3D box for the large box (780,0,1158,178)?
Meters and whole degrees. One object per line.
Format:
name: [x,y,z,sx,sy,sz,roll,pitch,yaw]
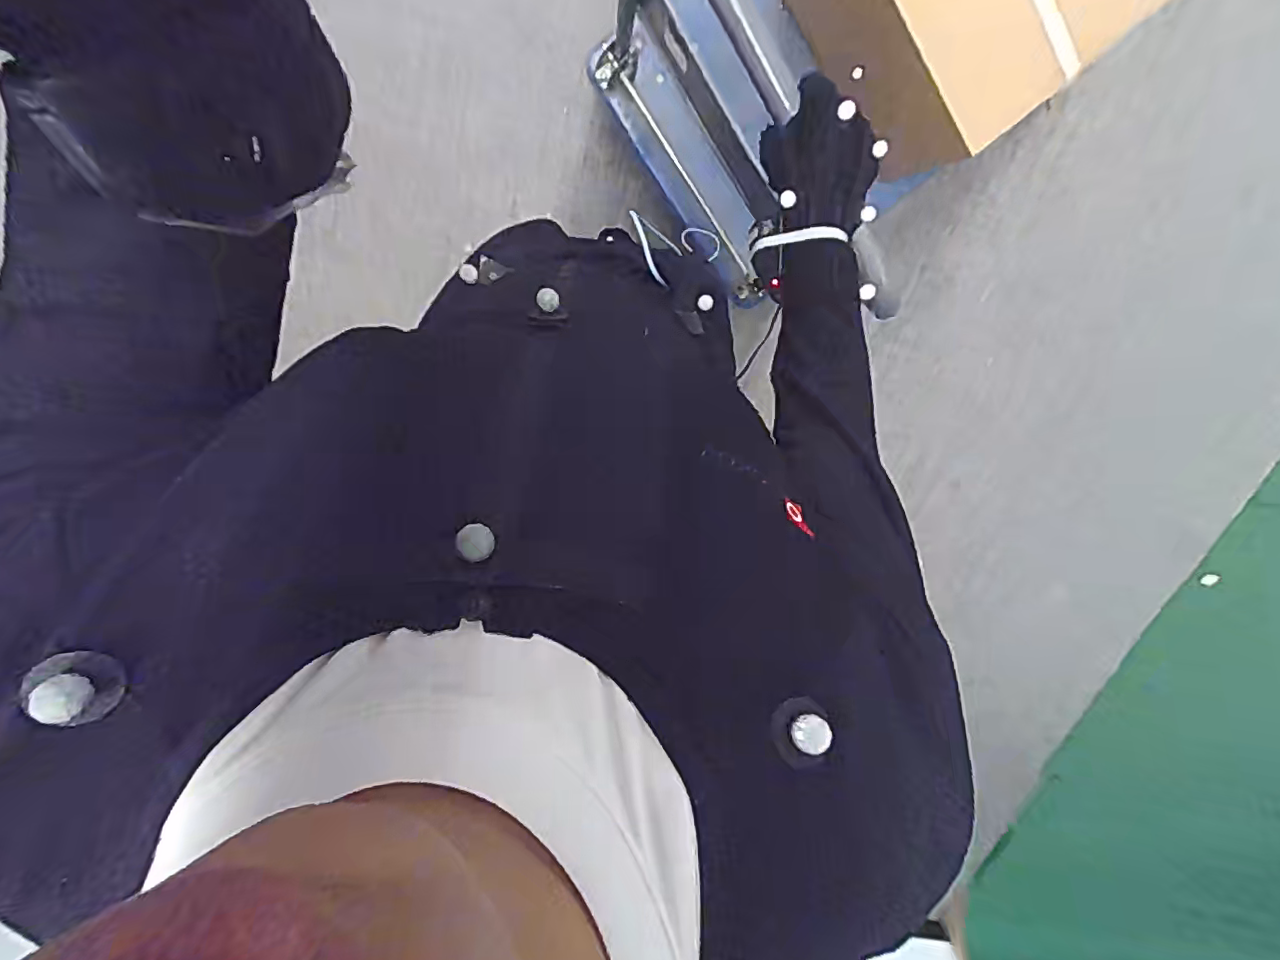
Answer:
large box: [0.485,-0.775,0.862,0.320,0.320,0.408,-38,108,13]
